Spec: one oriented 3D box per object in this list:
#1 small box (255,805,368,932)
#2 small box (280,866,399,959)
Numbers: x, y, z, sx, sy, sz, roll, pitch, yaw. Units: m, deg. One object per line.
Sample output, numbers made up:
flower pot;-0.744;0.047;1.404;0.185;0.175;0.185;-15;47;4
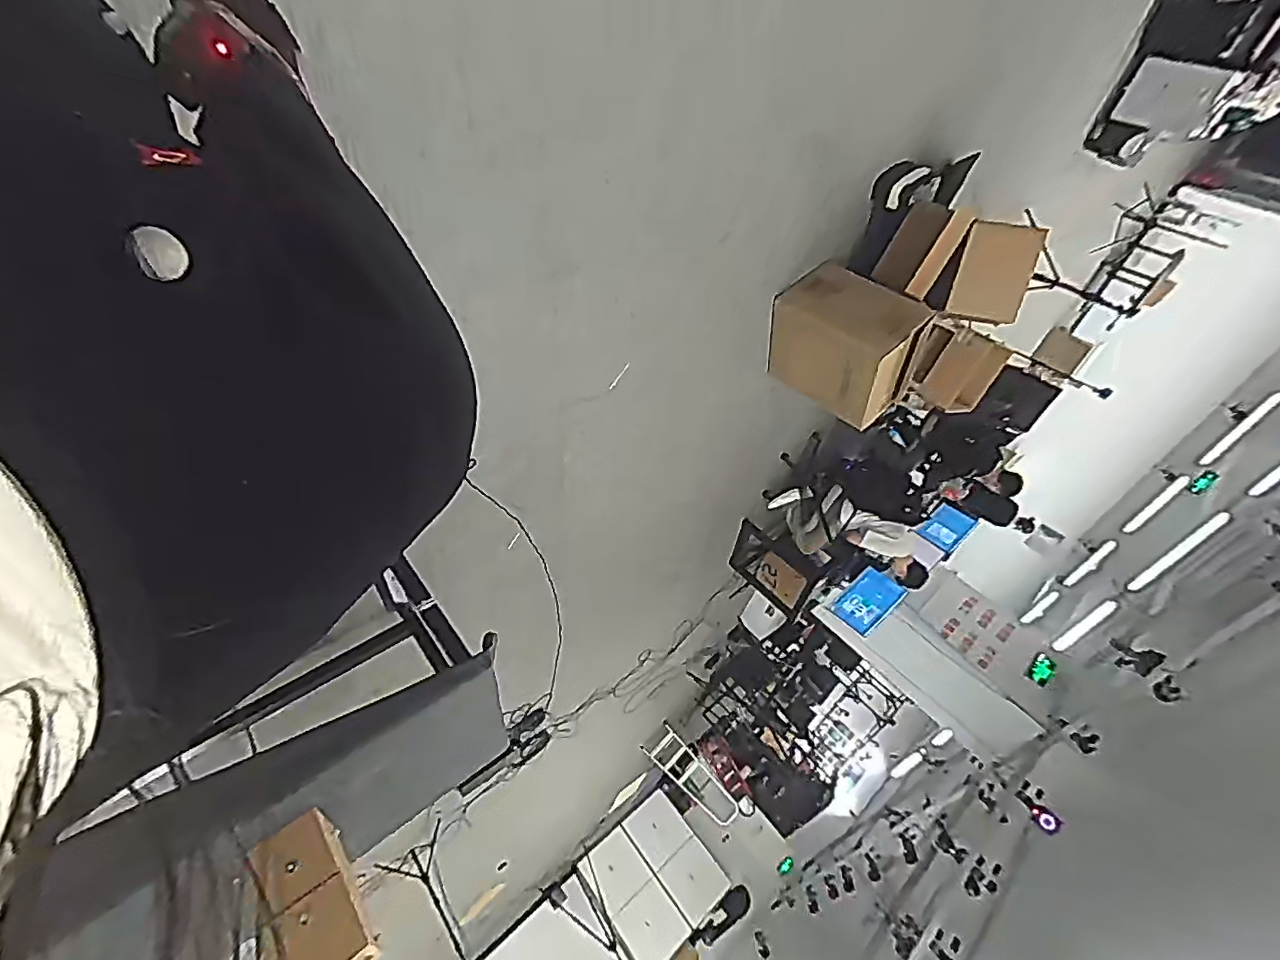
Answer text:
small box;-0.773;0.918;1.275;0.179;0.176;0.168;-29;145;-28
small box;-0.664;1.008;1.192;0.179;0.176;0.168;-26;144;-33
